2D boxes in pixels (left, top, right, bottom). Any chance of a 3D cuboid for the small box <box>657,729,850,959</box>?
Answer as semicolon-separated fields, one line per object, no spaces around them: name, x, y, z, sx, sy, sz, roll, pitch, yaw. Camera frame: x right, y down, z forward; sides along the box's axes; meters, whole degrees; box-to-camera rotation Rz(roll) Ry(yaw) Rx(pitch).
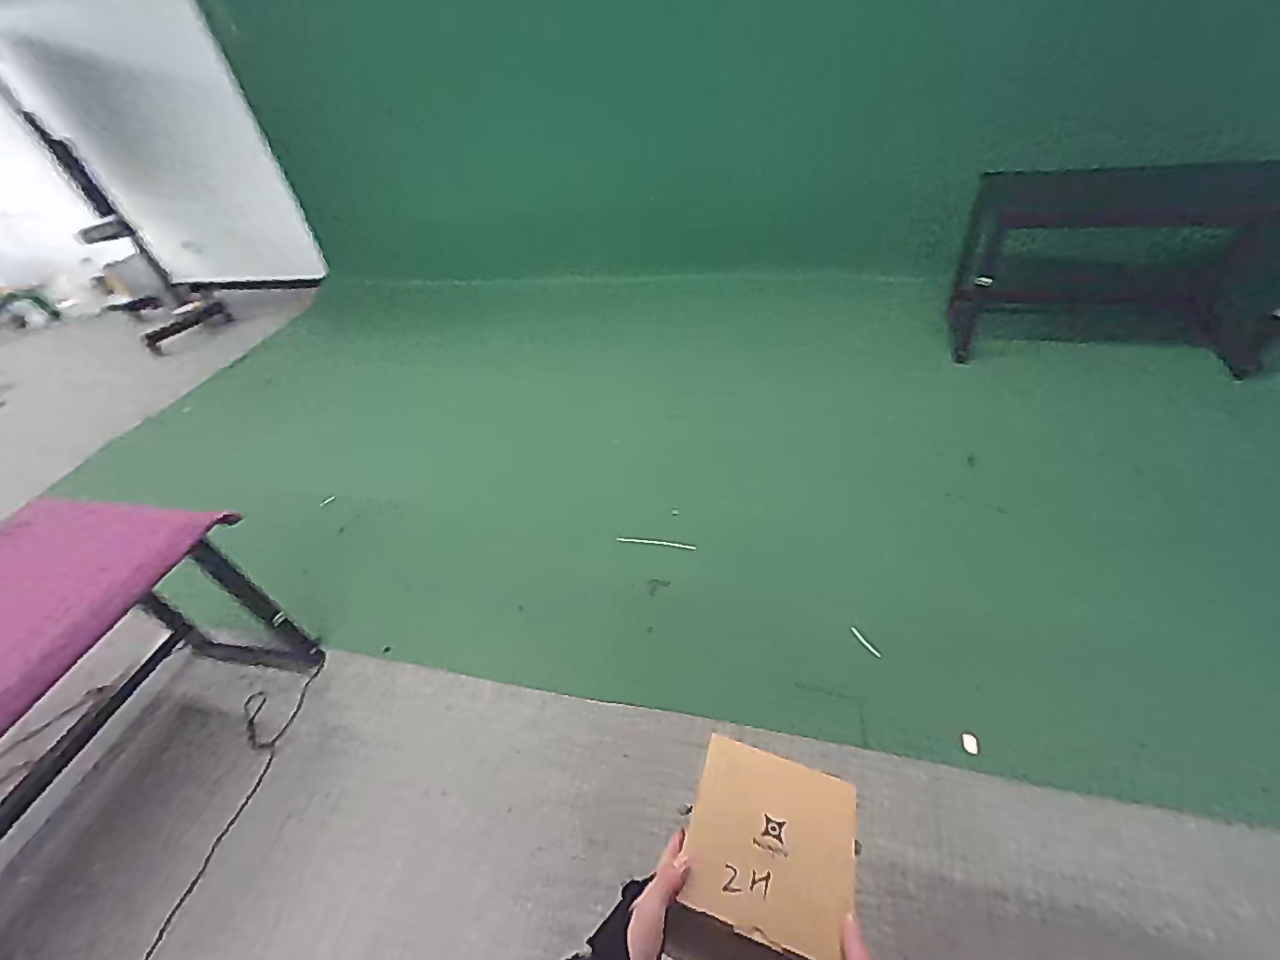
small box;0.121;0.420;0.593;0.168;0.176;0.179;14;38;14
